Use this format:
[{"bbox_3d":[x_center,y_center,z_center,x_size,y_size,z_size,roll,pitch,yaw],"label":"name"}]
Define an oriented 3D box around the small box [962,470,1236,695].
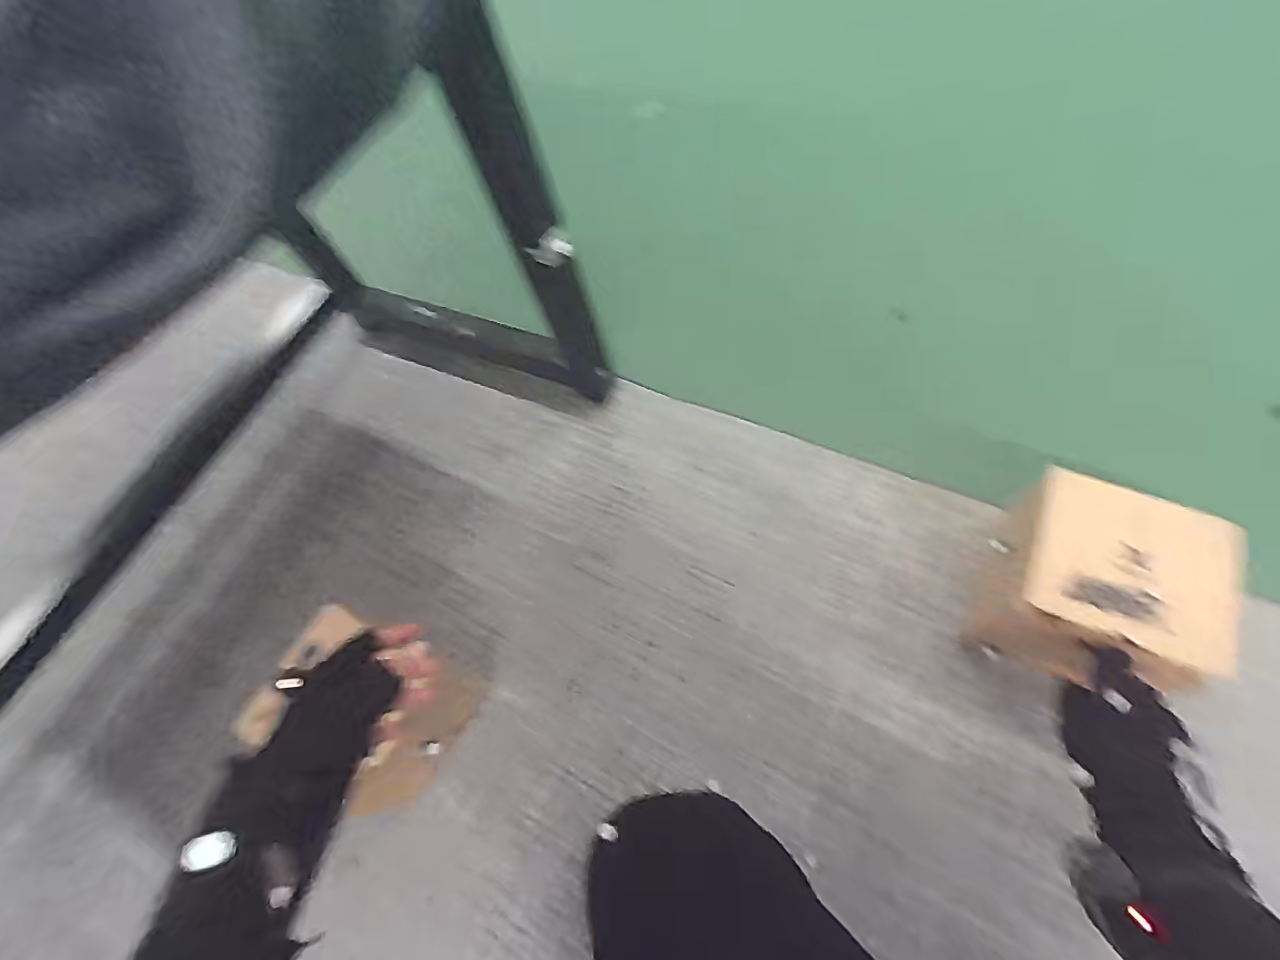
[{"bbox_3d":[0.493,0.123,0.609,0.168,0.176,0.179,23,71,20],"label":"small box"}]
